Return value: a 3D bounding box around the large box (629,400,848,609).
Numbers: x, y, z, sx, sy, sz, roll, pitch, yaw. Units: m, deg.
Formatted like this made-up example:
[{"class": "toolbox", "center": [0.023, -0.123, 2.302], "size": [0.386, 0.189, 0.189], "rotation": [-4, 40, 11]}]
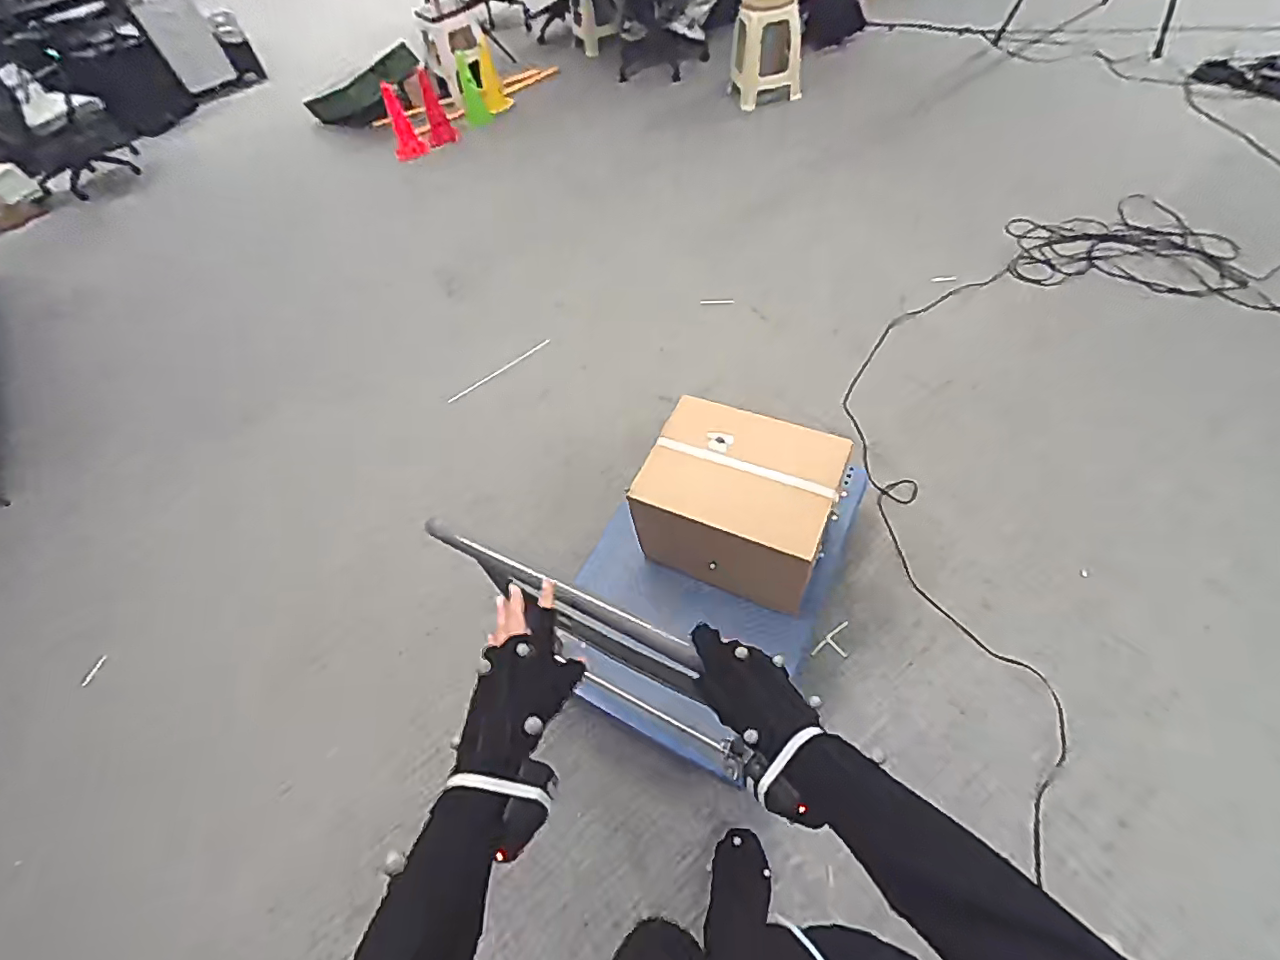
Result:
[{"class": "large box", "center": [0.238, 0.059, 1.294], "size": [0.408, 0.320, 0.320], "rotation": [17, 60, 21]}]
